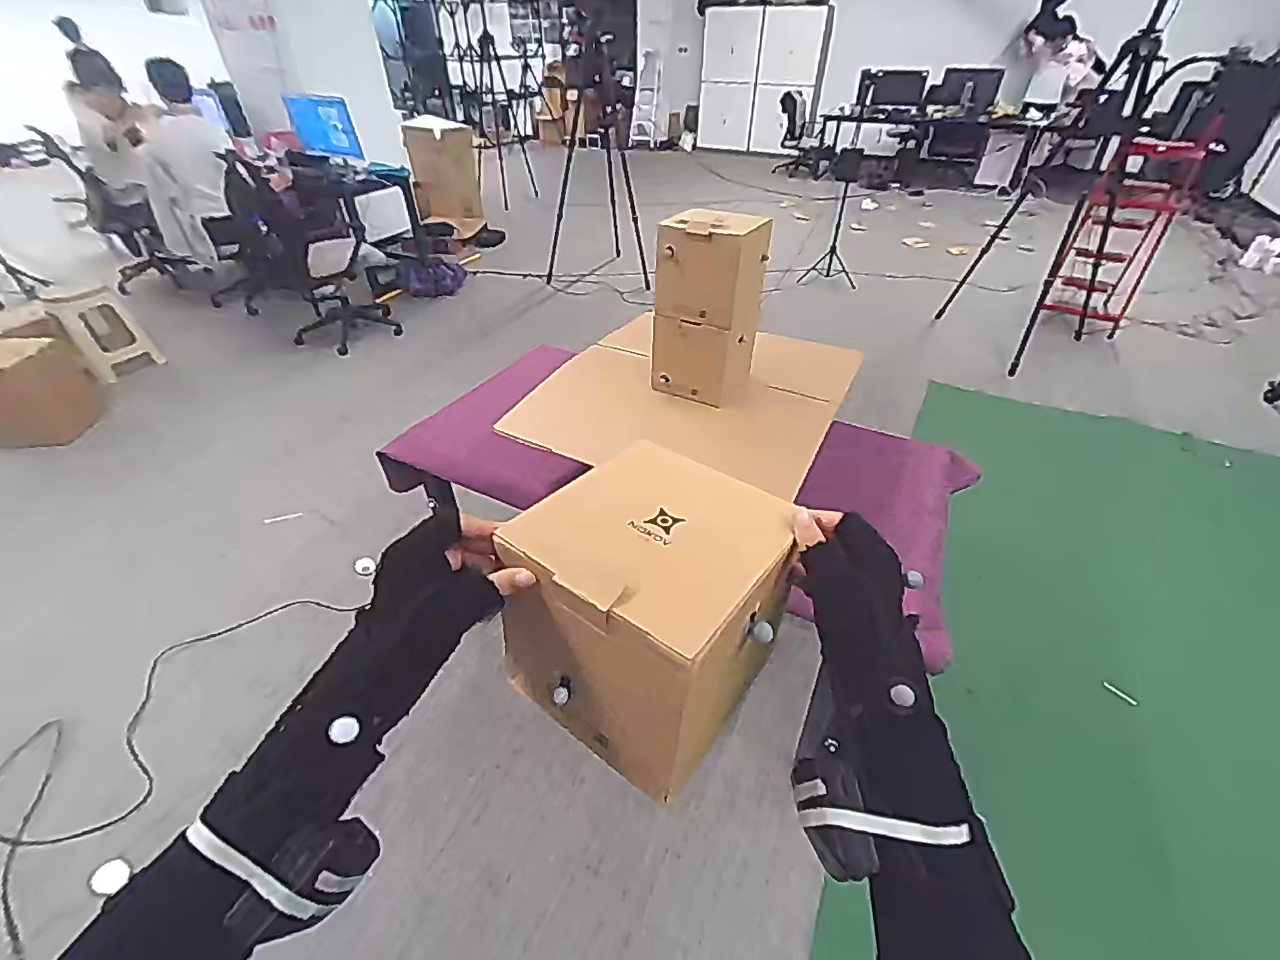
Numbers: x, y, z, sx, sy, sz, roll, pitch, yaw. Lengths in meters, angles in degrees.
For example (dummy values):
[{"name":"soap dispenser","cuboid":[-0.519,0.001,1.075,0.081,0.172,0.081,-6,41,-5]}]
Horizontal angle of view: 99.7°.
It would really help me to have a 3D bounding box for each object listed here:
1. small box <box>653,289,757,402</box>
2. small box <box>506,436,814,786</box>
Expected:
[{"name":"small box","cuboid":[0.137,-0.287,1.151,0.168,0.176,0.179,18,42,20]},{"name":"small box","cuboid":[0.013,0.094,0.437,0.168,0.176,0.179,26,41,27]}]
